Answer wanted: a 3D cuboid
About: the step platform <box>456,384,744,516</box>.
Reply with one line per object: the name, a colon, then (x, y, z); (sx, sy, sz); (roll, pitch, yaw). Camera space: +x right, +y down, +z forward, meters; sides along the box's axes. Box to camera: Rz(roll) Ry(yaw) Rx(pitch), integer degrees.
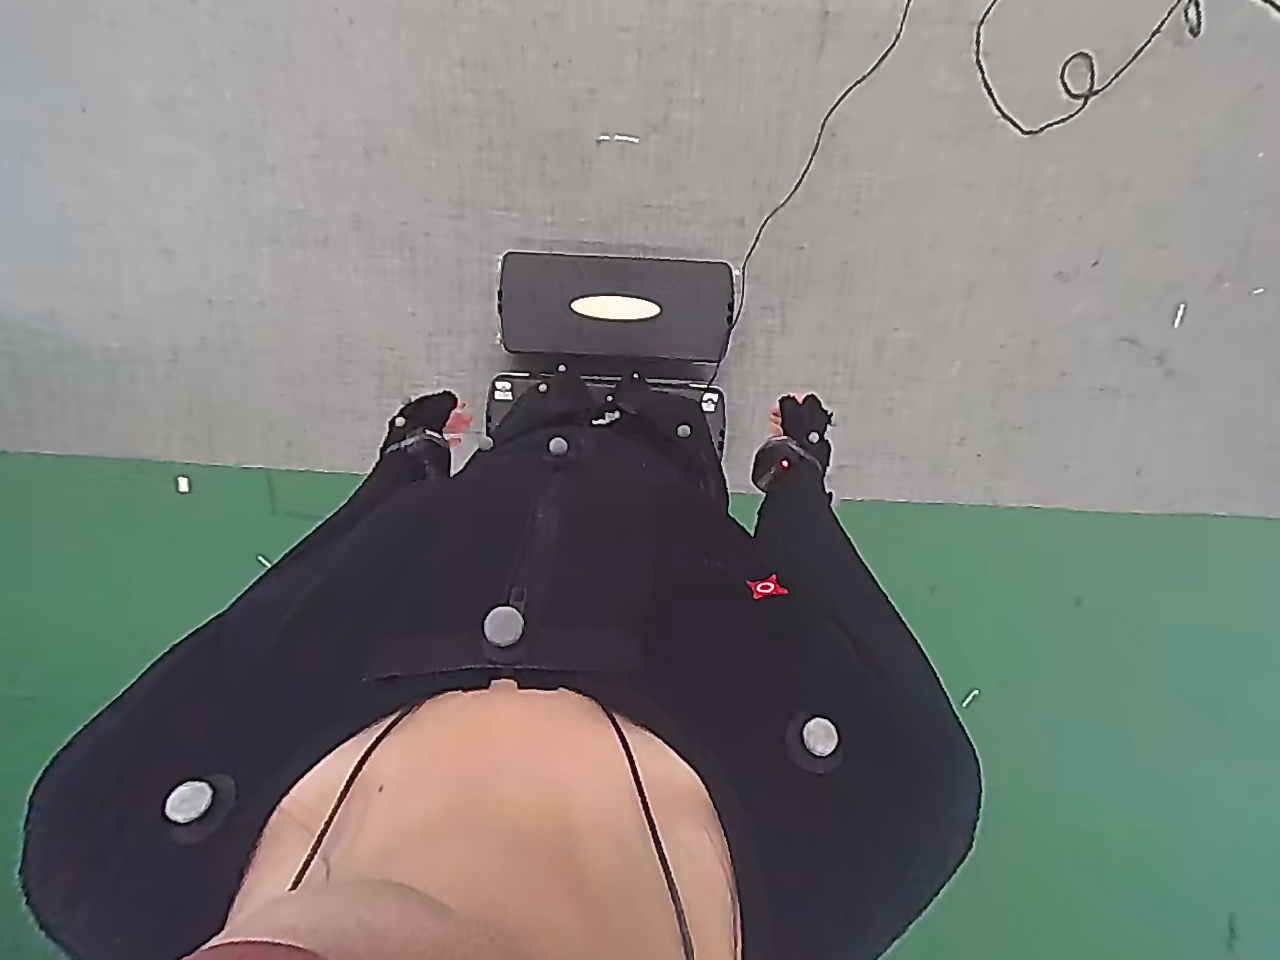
step platform: (-0.096, -0.084, 1.373); (0.684, 0.204, 0.286); (3, 102, -2)
